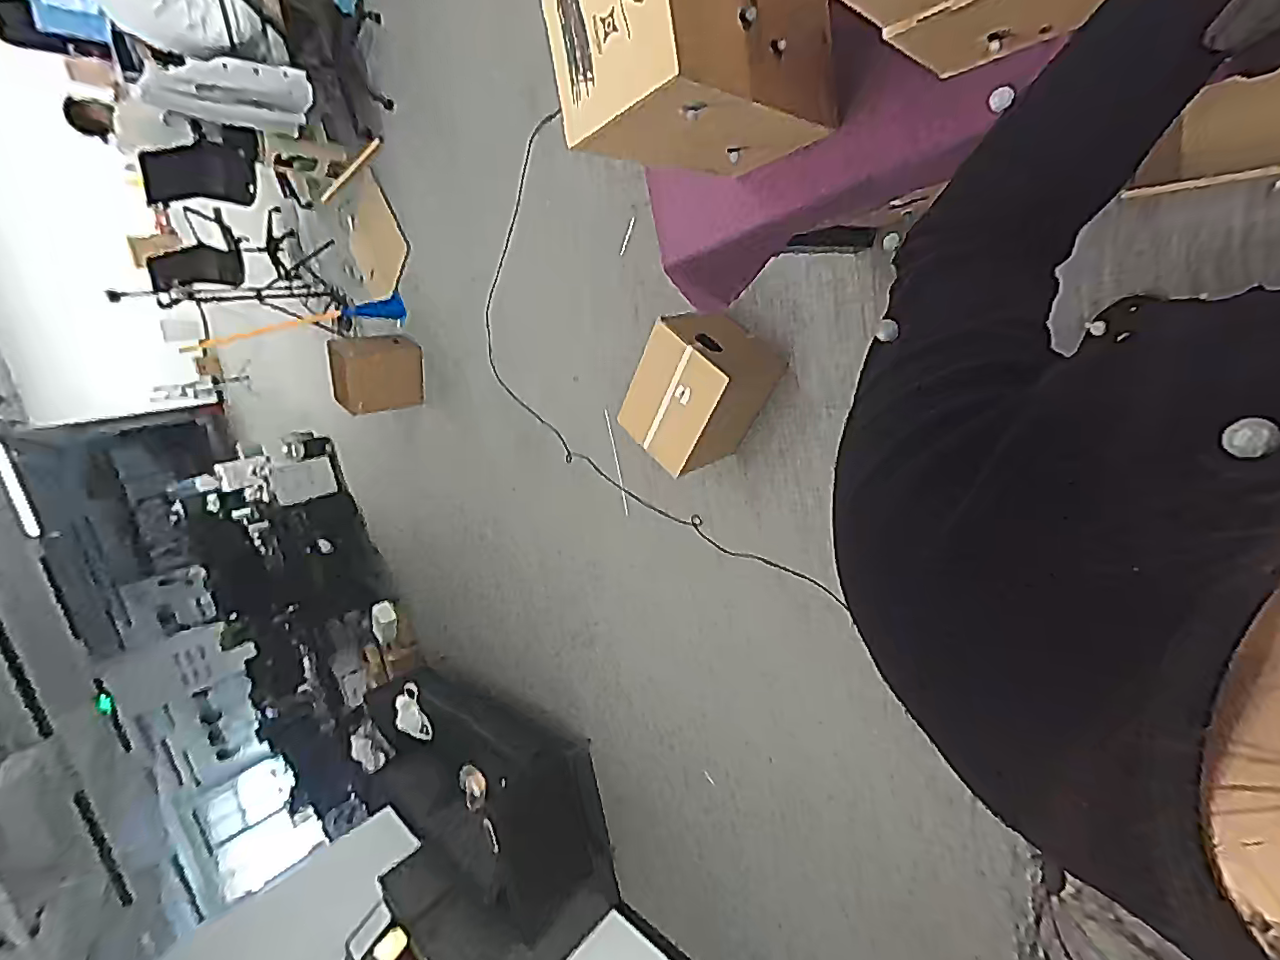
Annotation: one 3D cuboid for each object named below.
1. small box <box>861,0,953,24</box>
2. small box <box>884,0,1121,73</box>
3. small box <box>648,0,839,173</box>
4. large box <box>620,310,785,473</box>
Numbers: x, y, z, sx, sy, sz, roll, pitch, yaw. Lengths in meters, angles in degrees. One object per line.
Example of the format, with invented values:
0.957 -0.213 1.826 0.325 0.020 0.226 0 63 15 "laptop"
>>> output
0.228 -0.484 0.389 0.168 0.176 0.179 12 115 45 "small box"
0.344 -0.522 0.501 0.168 0.176 0.179 10 114 44 "small box"
0.139 -0.528 0.716 0.179 0.176 0.168 4 109 47 "small box"
0.194 -0.294 1.764 0.320 0.320 0.408 46 134 23 "large box"
